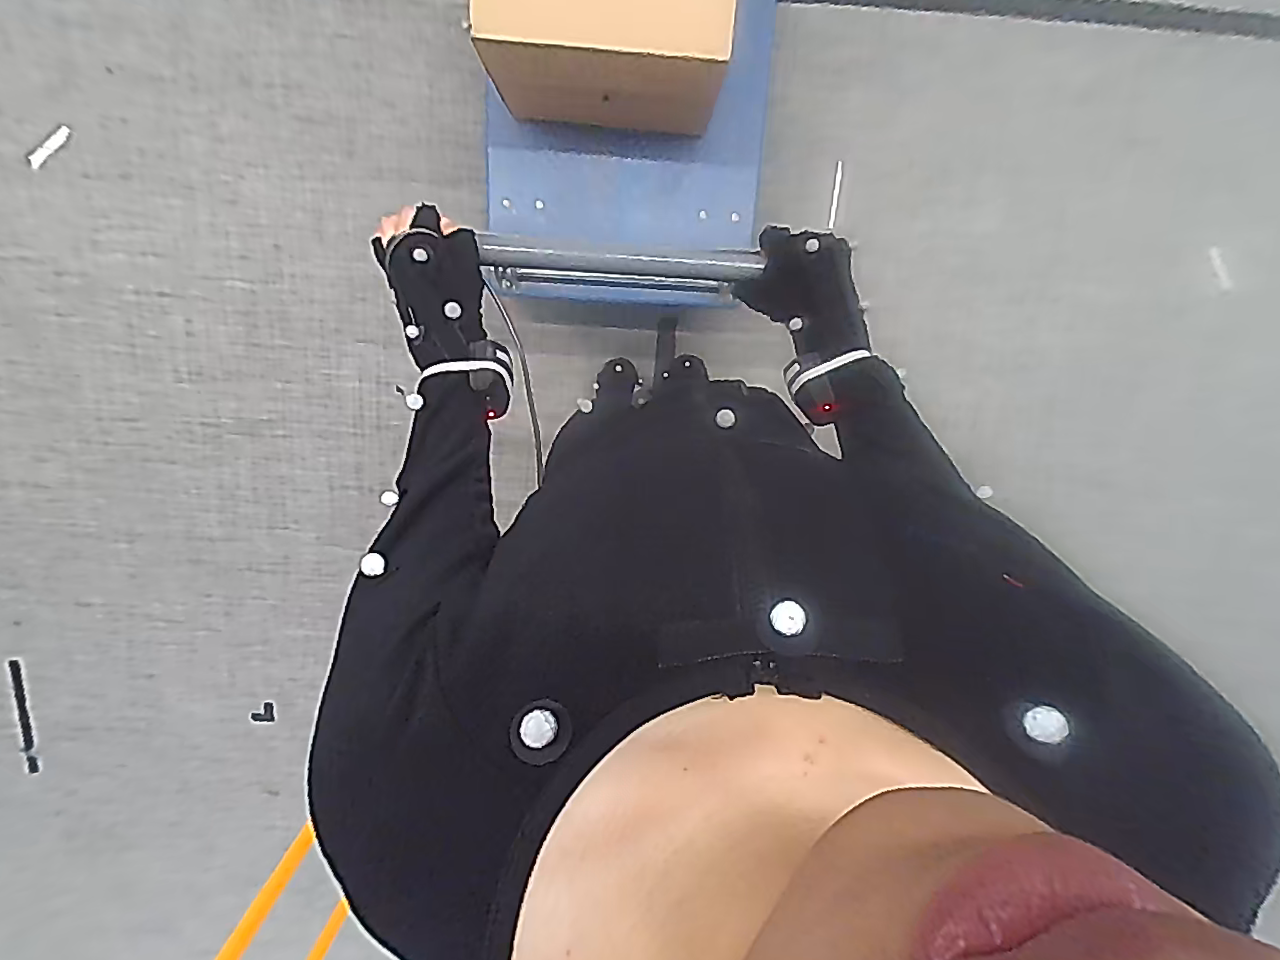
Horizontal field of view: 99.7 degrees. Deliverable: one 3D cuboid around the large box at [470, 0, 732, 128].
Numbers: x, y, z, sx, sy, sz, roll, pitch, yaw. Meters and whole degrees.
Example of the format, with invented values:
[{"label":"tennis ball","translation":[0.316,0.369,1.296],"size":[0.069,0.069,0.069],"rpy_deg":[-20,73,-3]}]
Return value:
[{"label":"large box","translation":[-0.054,-0.849,0.944],"size":[0.408,0.320,0.320],"rpy_deg":[4,104,-1]}]
